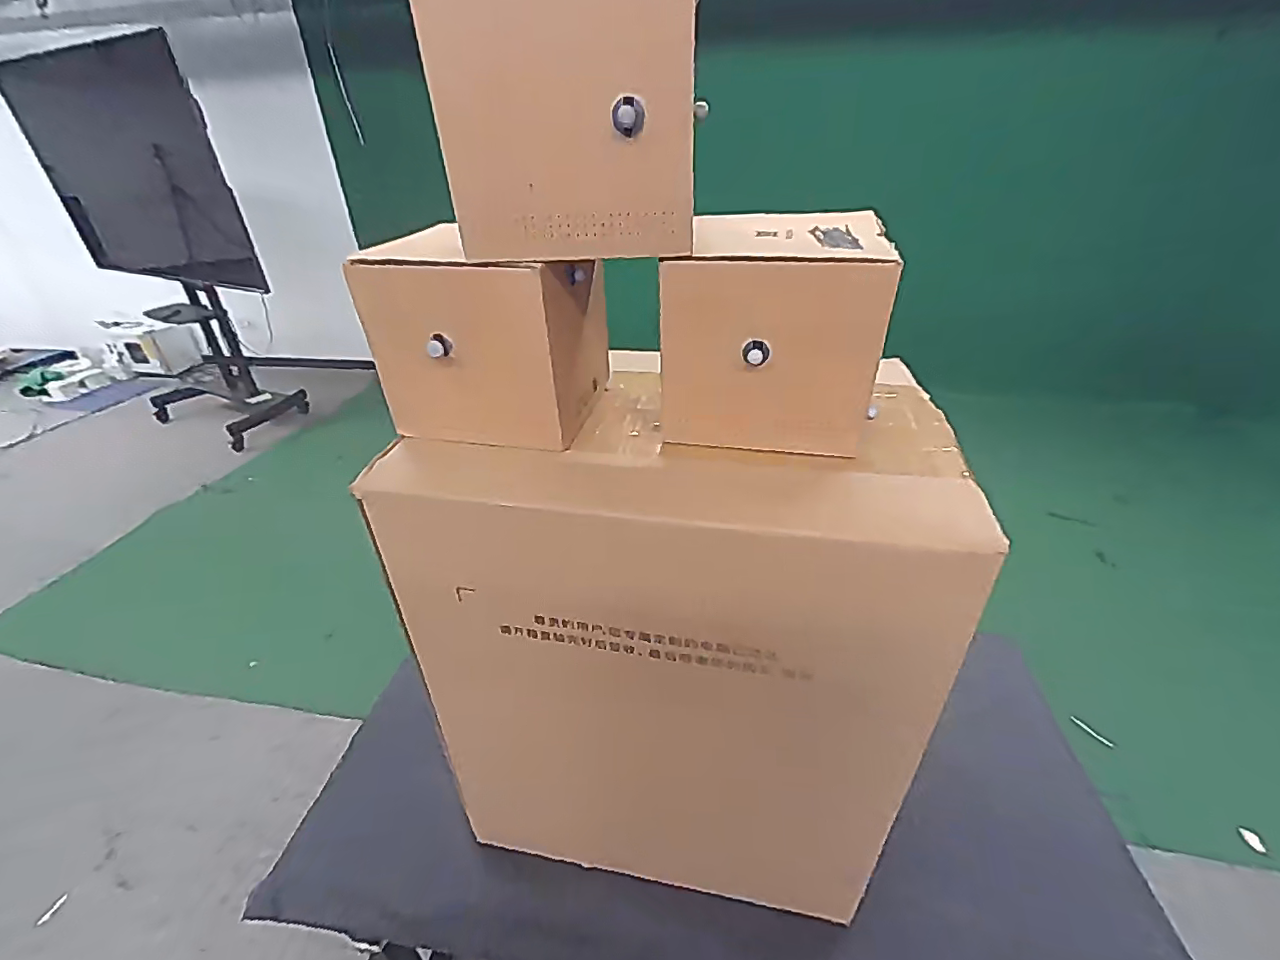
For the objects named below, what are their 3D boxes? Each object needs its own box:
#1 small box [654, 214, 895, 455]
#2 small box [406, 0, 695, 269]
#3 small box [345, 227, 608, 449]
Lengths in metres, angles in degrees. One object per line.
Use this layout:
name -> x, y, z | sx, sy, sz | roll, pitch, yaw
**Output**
small box -> 0.117, -0.138, 0.503 | 0.179, 0.176, 0.168 | 5, 37, 13
small box -> -0.048, -0.273, 0.427 | 0.179, 0.176, 0.168 | -1, 34, 4
small box -> -0.139, -0.144, 0.534 | 0.179, 0.176, 0.168 | 6, 37, 12
